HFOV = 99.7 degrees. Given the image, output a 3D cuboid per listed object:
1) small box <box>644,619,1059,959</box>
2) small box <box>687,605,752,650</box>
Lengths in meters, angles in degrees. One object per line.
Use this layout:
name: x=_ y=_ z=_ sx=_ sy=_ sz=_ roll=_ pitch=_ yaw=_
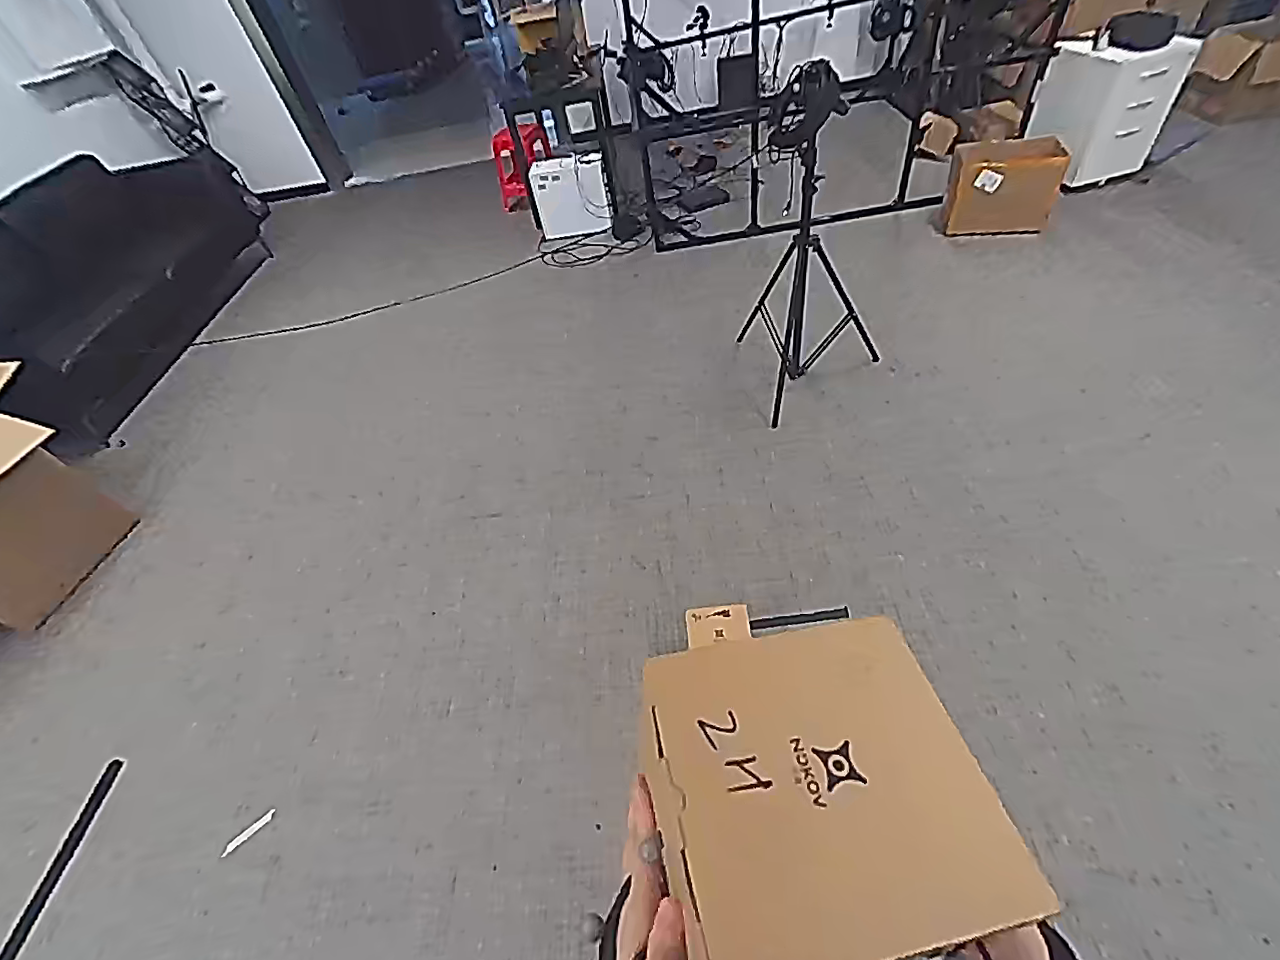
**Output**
small box: x=0.103 y=0.218 z=0.358 sx=0.179 sy=0.176 sz=0.168 roll=-8 pitch=45 yaw=-8
small box: x=0.220 y=0.458 z=1.455 sx=0.168 sy=0.176 sz=0.179 roll=-6 pitch=49 yaw=6
